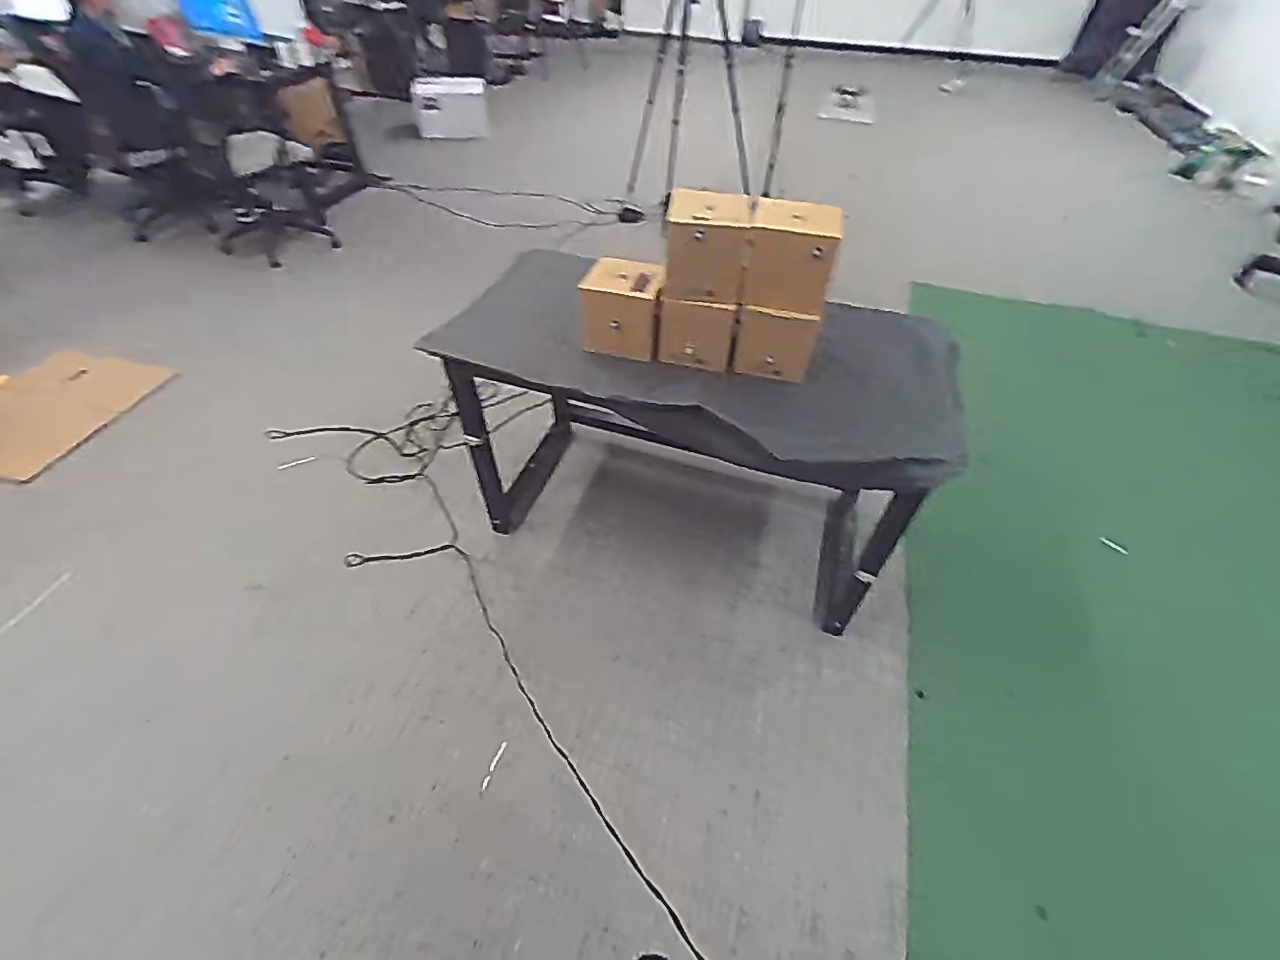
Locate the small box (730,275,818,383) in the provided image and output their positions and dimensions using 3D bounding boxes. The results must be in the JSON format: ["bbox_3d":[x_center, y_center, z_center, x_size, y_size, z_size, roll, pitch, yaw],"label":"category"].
[{"bbox_3d":[0.313,-0.355,1.272,0.168,0.176,0.179,12,48,10],"label":"small box"}]
